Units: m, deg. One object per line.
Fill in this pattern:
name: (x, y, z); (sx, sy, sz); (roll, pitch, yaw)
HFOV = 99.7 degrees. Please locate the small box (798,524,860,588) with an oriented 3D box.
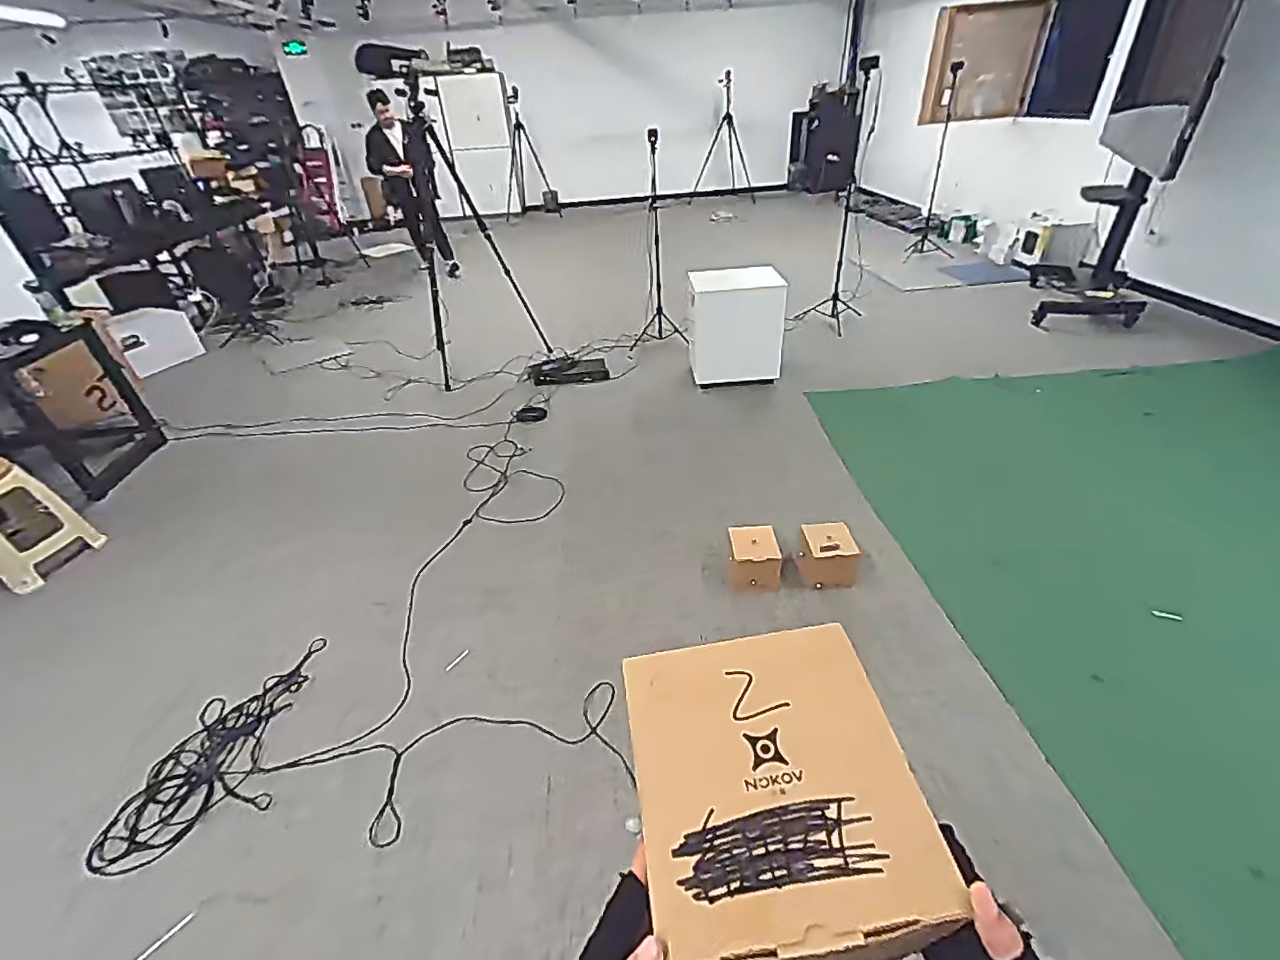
small box: (0.690, 0.286, 1.992); (0.168, 0.176, 0.179); (-4, 35, 0)

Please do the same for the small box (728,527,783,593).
small box: (0.421, 0.296, 2.003); (0.168, 0.176, 0.179); (-3, 36, 0)
